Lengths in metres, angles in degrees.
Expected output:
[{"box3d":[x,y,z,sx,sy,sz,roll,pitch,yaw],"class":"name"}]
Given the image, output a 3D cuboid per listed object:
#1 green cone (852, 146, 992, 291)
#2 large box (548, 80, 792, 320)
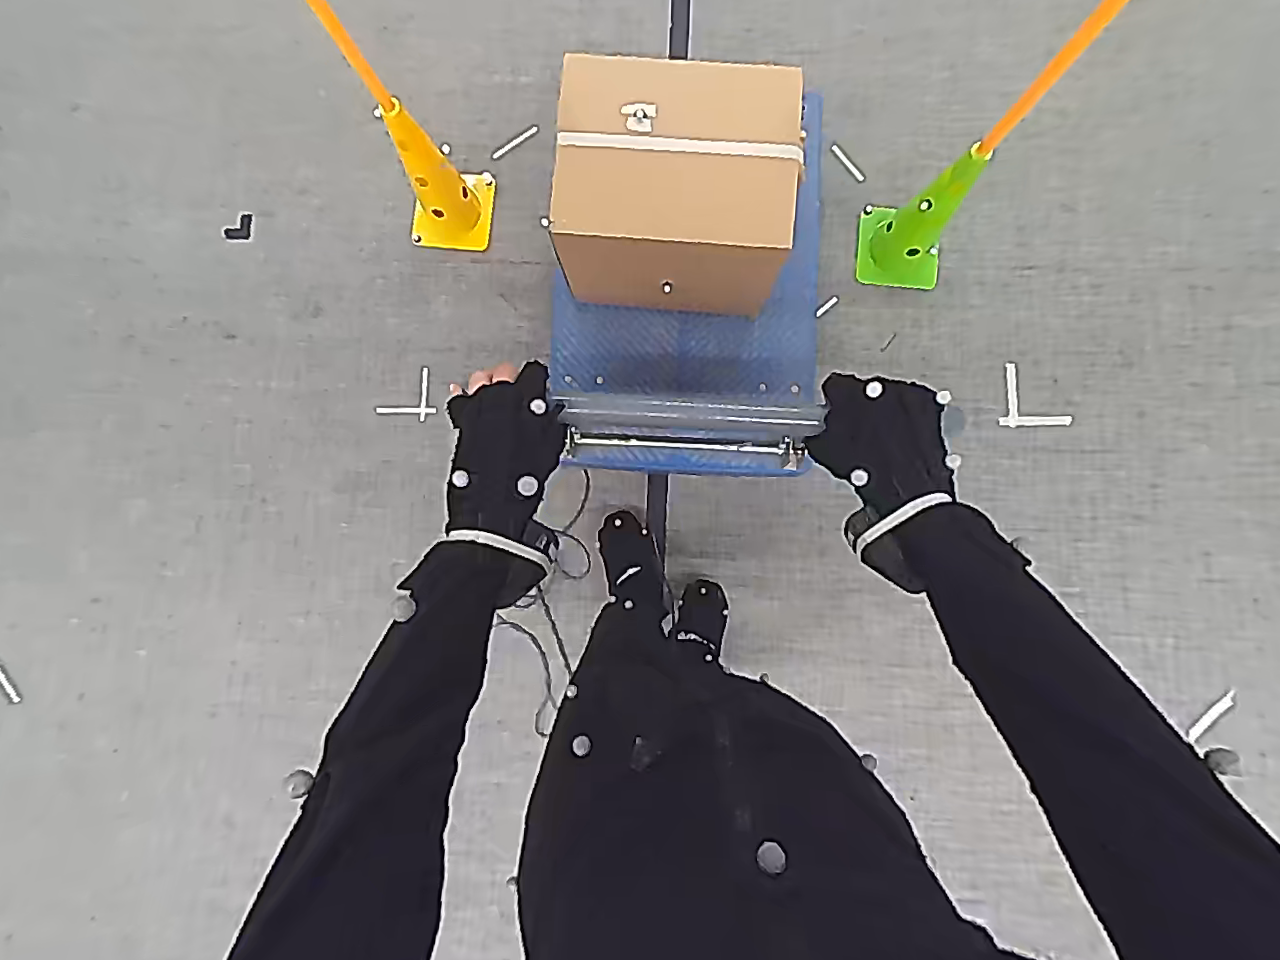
[{"box3d":[0.639,-0.593,1.194,0.202,0.368,0.200,6,86,1],"class":"green cone"},{"box3d":[0.060,-0.520,1.064,0.408,0.320,0.320,5,86,3],"class":"large box"}]
